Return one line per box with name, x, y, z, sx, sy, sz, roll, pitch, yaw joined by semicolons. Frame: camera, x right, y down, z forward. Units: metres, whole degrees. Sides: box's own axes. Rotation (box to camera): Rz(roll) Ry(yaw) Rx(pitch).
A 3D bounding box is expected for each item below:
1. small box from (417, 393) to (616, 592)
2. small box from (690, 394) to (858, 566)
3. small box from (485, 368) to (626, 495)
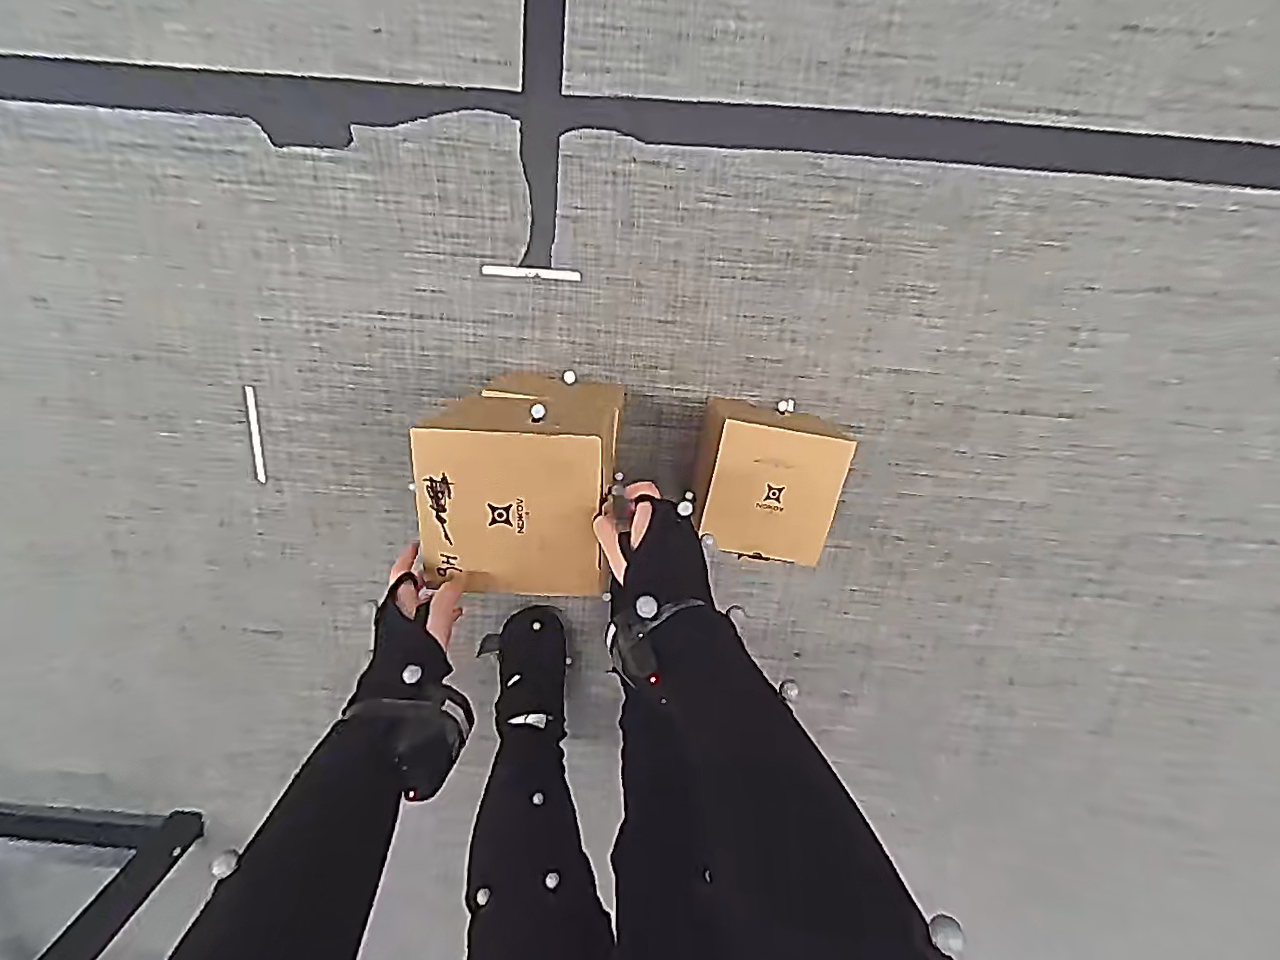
small box;-0.117;0.004;0.577;0.179;0.176;0.168;3;108;-2
small box;0.169;-0.008;0.747;0.168;0.176;0.179;10;108;-4
small box;-0.111;-0.045;0.734;0.168;0.176;0.179;7;108;-2
